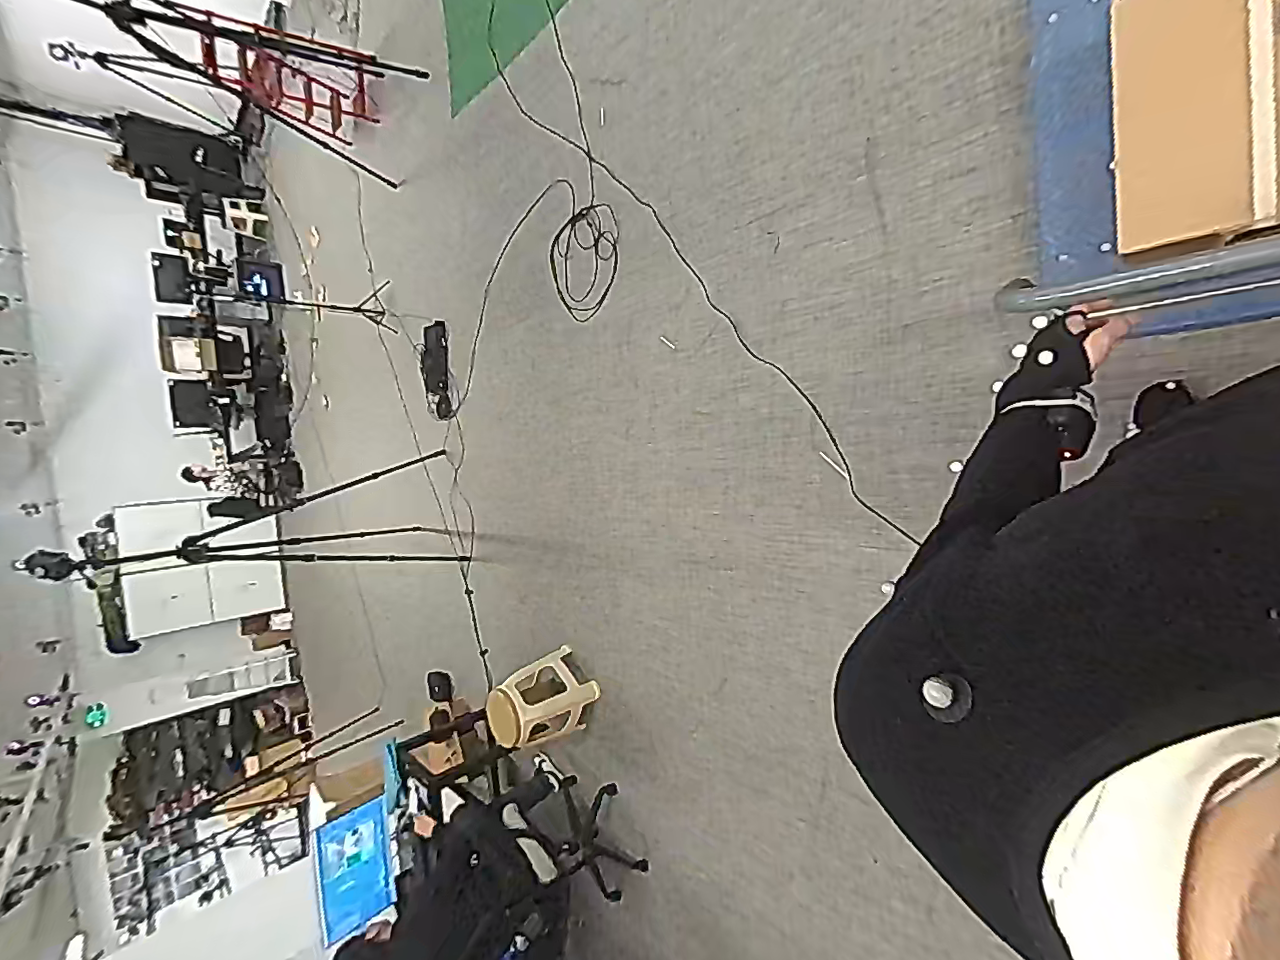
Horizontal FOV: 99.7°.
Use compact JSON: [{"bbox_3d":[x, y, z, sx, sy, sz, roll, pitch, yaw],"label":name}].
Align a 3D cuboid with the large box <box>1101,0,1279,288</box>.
[{"bbox_3d":[0.981,-0.577,0.878,0.320,0.320,0.408,-2,92,45],"label":"large box"}]
